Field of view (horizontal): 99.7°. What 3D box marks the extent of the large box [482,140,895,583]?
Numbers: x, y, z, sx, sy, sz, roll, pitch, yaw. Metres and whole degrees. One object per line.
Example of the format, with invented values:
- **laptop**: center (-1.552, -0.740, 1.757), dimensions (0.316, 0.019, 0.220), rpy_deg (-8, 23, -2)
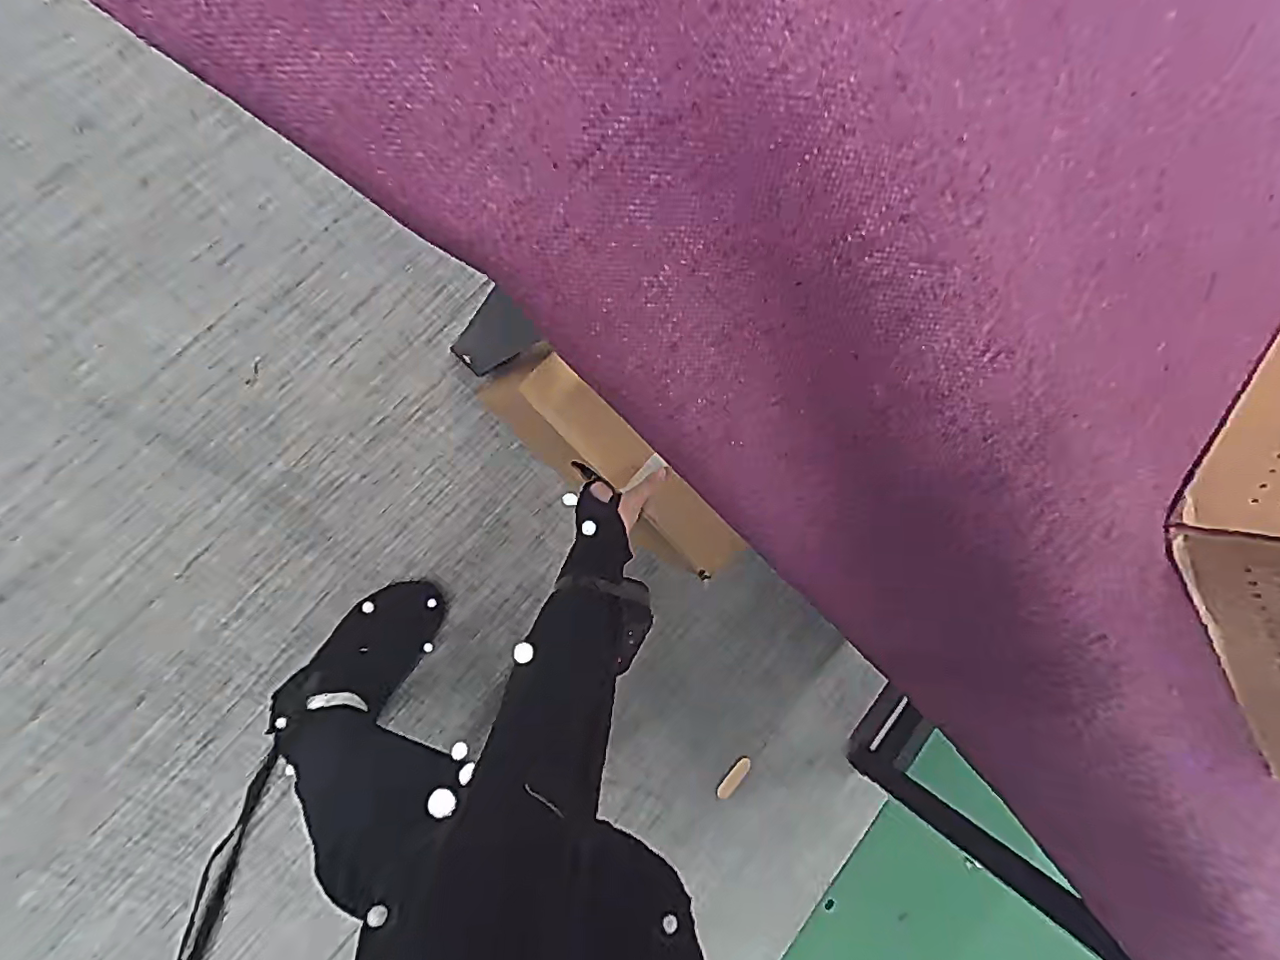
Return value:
- **large box**: center (0.048, -0.144, 0.741), dimensions (0.320, 0.320, 0.408), rpy_deg (45, 79, -20)
